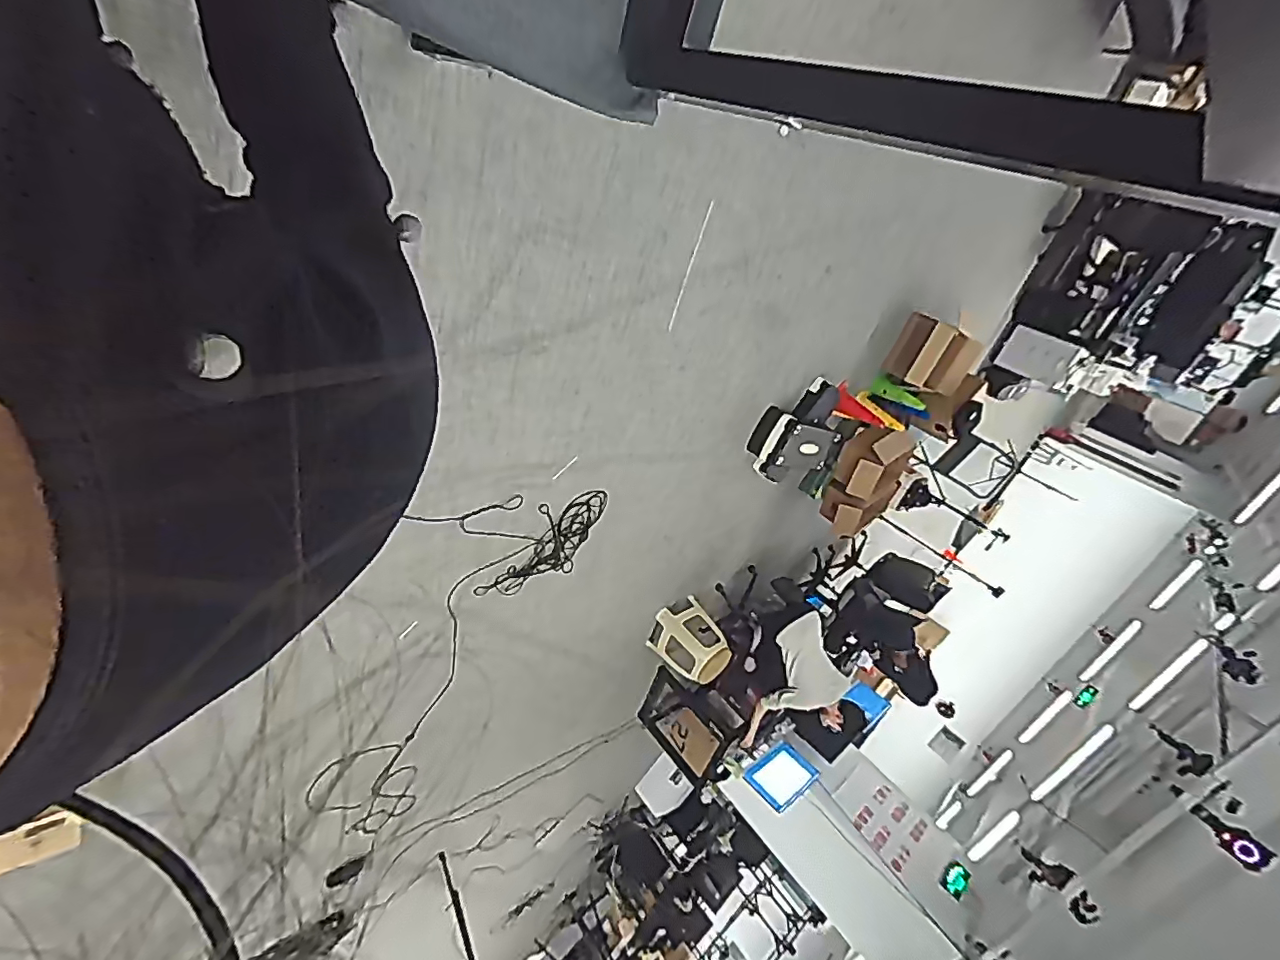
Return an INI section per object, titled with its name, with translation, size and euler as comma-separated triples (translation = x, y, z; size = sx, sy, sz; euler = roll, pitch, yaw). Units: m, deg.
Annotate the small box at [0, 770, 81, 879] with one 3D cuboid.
[small box]
translation = -1.634, 0.917, 1.457
size = 0.168, 0.176, 0.179
euler = 1, 121, -48
